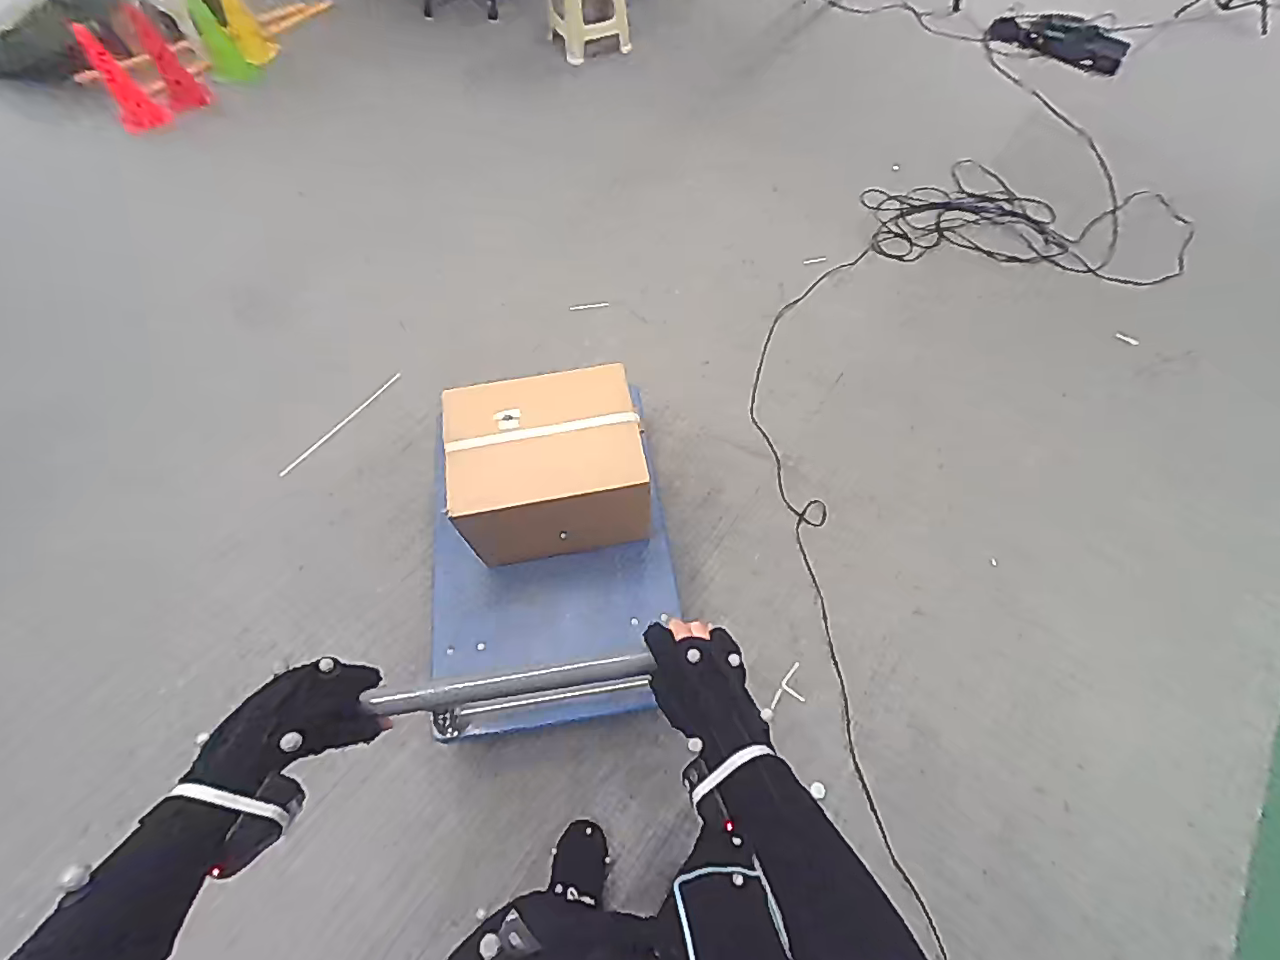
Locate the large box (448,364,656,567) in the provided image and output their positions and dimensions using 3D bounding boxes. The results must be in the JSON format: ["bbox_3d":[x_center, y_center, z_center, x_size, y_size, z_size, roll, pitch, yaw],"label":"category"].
[{"bbox_3d":[-0.192,-0.023,1.271,0.408,0.320,0.320,-12,62,-5],"label":"large box"}]
